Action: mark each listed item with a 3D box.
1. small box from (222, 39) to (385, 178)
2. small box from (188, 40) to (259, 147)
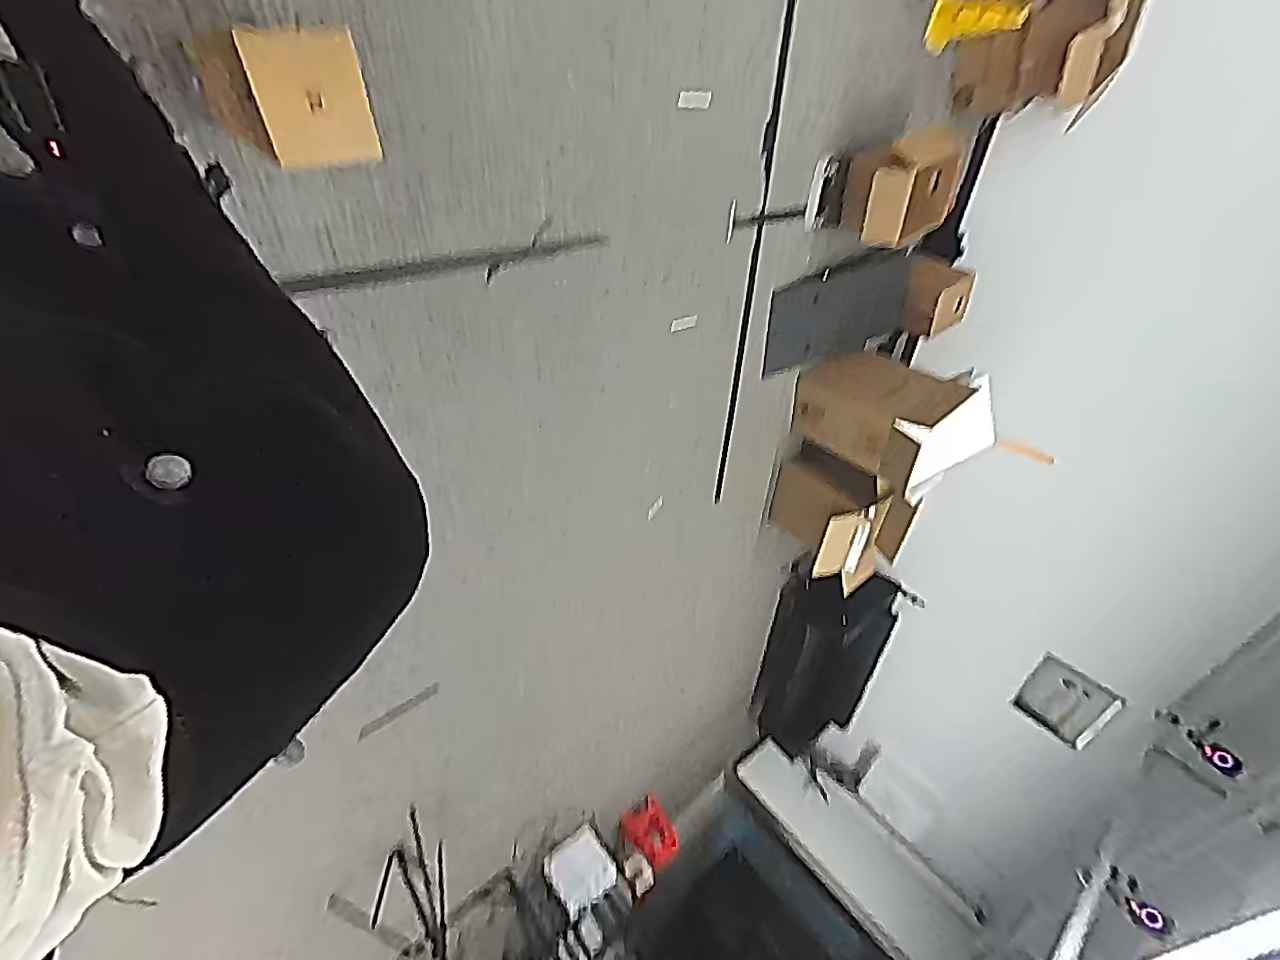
[{"bbox_3d":[-0.560,-0.627,0.908,0.168,0.176,0.179,-28,136,-29],"label":"small box"},{"bbox_3d":[-0.772,-0.787,1.099,0.179,0.176,0.168,-26,135,-30],"label":"small box"}]
